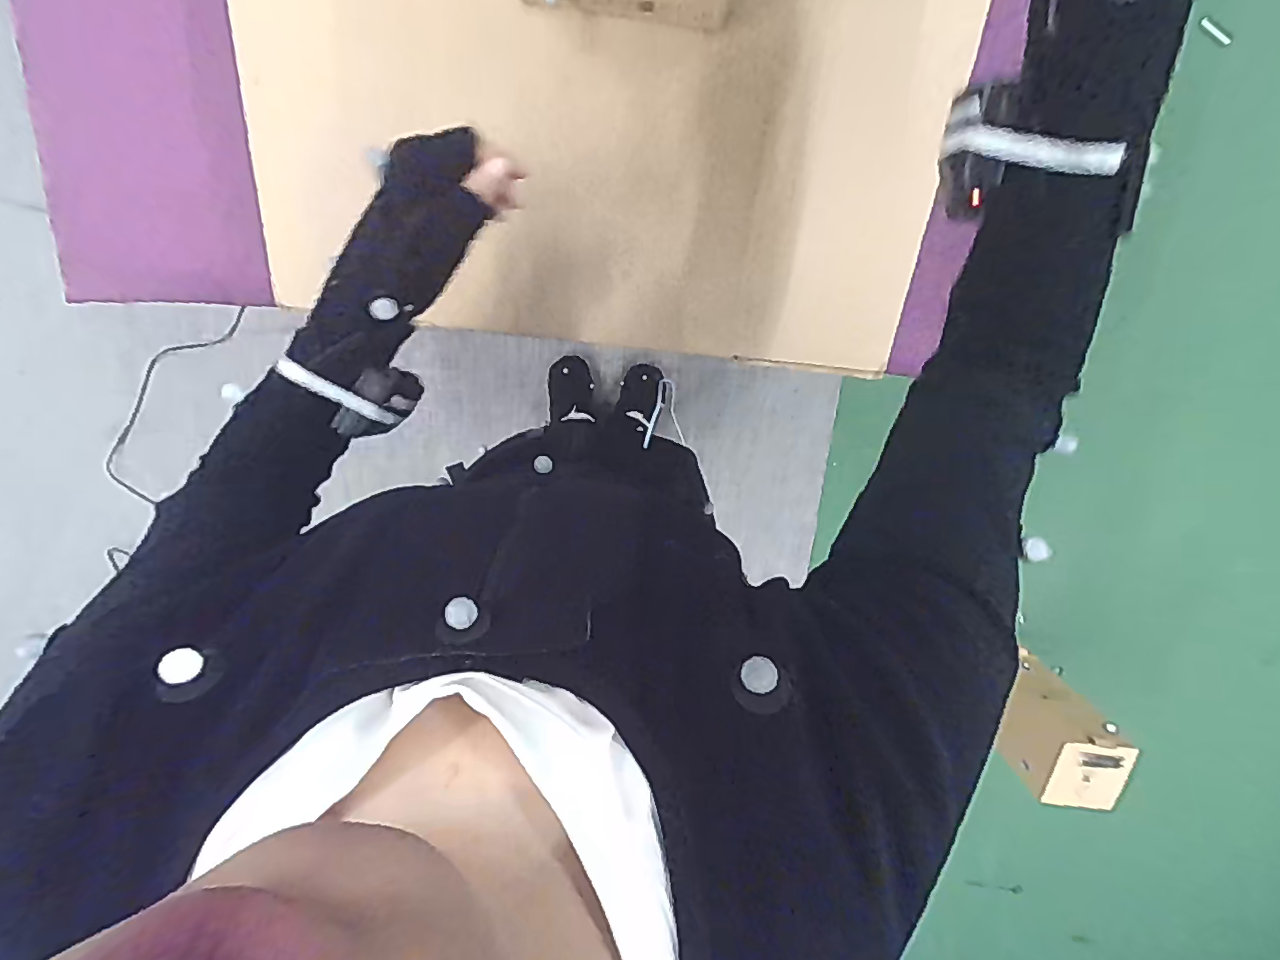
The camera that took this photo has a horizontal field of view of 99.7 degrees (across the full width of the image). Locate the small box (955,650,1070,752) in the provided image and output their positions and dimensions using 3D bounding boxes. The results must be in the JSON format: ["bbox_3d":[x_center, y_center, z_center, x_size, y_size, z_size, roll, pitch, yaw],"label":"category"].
[{"bbox_3d":[0.977,0.584,1.438,0.168,0.176,0.179,7,107,-2],"label":"small box"}]
